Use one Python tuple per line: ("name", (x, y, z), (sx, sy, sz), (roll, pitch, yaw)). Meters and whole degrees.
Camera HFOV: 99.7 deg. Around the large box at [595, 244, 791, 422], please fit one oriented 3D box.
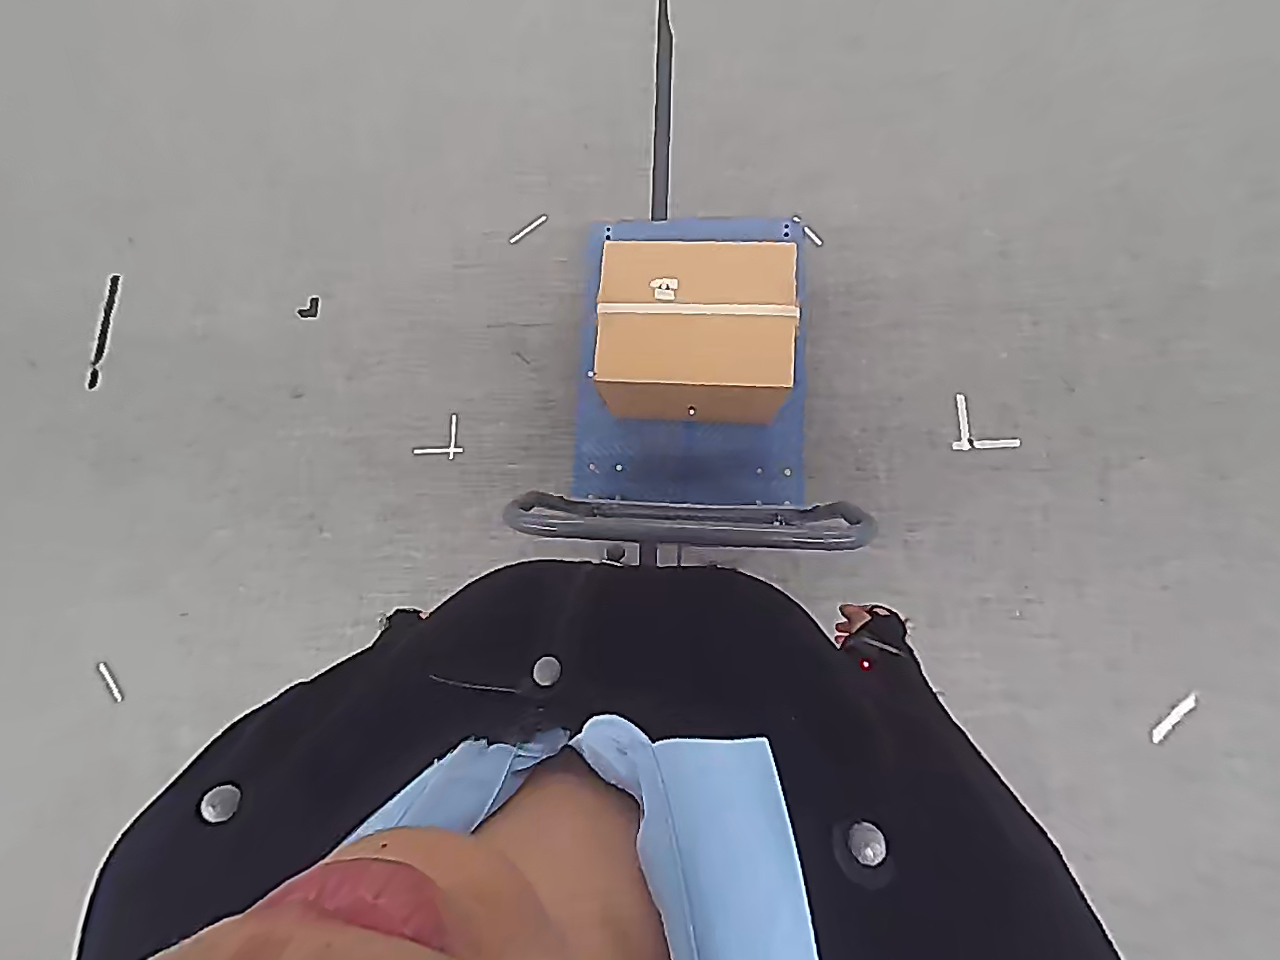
("large box", (0.128, -0.323, 1.269), (0.408, 0.320, 0.320), (3, 80, 7))
